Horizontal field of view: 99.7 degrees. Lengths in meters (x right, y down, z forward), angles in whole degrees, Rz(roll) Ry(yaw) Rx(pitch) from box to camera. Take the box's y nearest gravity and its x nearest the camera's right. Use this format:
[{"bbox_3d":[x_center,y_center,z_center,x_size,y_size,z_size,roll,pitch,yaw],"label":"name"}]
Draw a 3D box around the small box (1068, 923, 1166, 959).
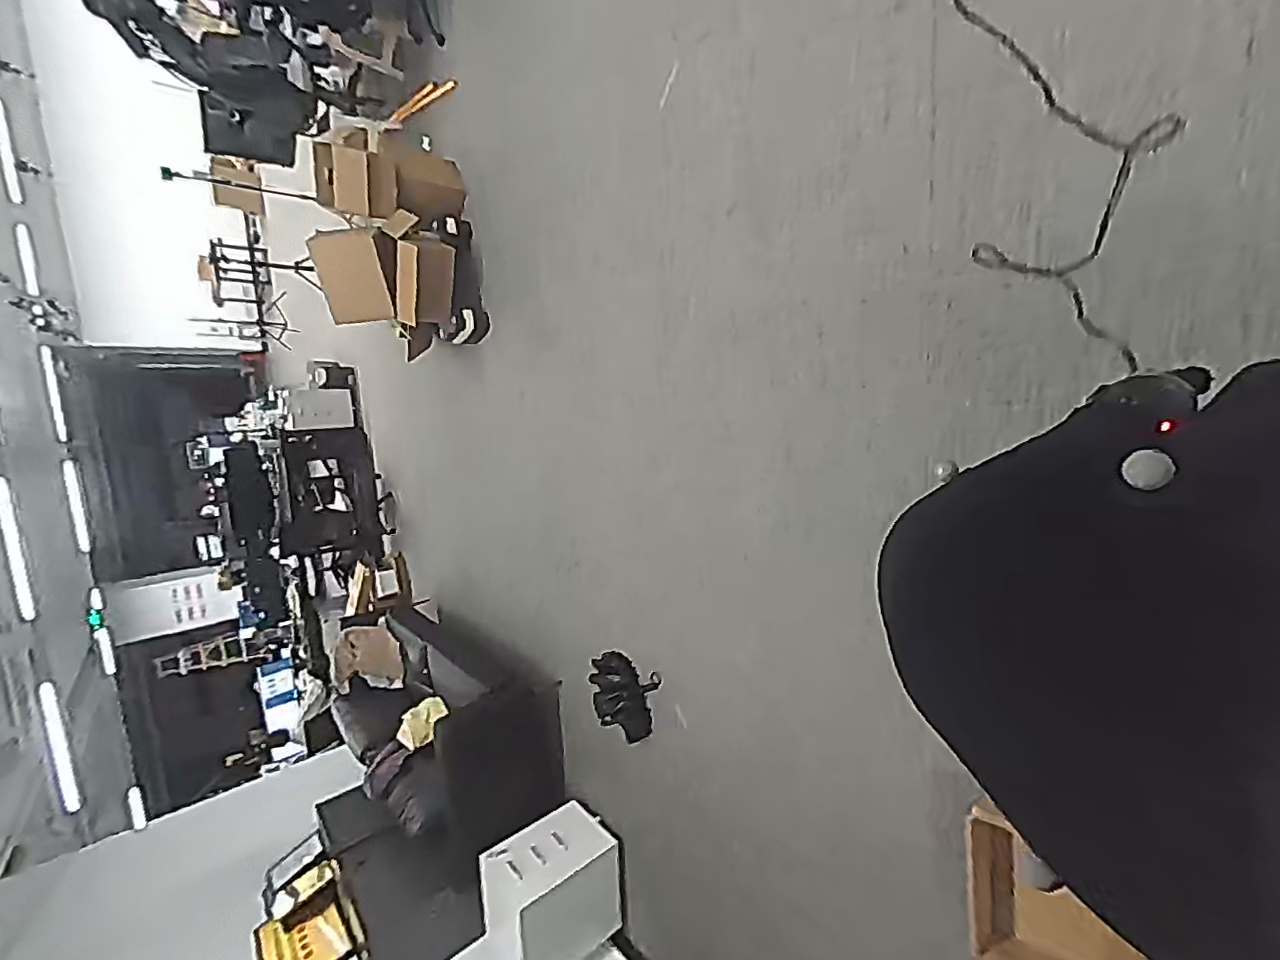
[{"bbox_3d":[0.868,0.946,0.959,0.179,0.176,0.168,13,109,47],"label":"small box"}]
